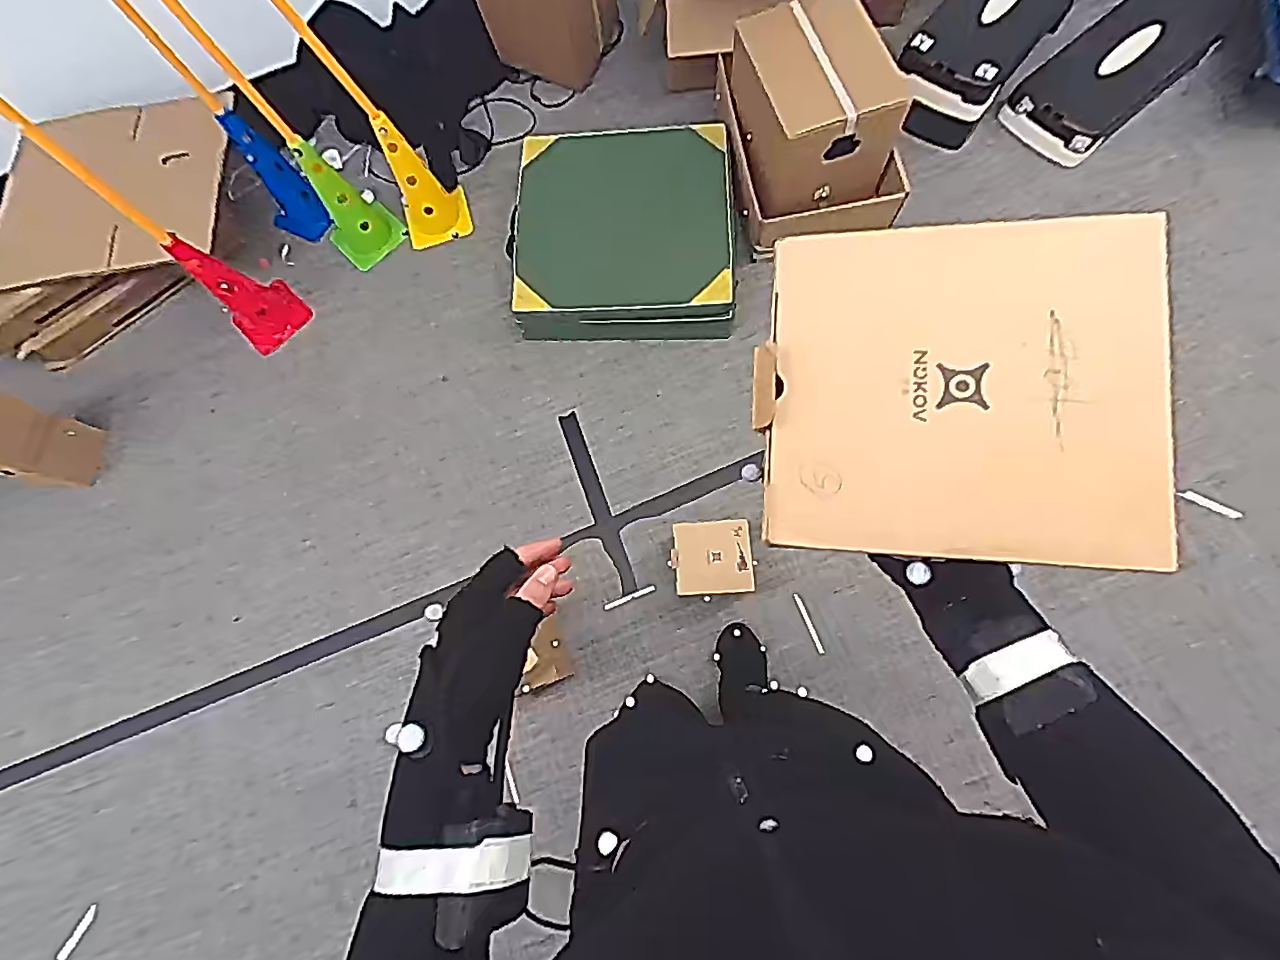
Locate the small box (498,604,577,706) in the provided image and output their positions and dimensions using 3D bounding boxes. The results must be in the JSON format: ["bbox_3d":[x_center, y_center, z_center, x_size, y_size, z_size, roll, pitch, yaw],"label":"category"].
[{"bbox_3d":[-0.263,0.408,1.282,0.168,0.176,0.179,-24,73,-1],"label":"small box"}]

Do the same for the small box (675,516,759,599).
[{"bbox_3d":[0.180,0.191,1.299,0.179,0.176,0.168,-6,74,3],"label":"small box"}]

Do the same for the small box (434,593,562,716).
[{"bbox_3d":[-0.288,0.357,1.128,0.168,0.176,0.179,-36,77,-3],"label":"small box"}]

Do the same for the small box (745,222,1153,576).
[{"bbox_3d":[0.164,-0.033,0.340,0.179,0.176,0.168,2,85,14],"label":"small box"}]
